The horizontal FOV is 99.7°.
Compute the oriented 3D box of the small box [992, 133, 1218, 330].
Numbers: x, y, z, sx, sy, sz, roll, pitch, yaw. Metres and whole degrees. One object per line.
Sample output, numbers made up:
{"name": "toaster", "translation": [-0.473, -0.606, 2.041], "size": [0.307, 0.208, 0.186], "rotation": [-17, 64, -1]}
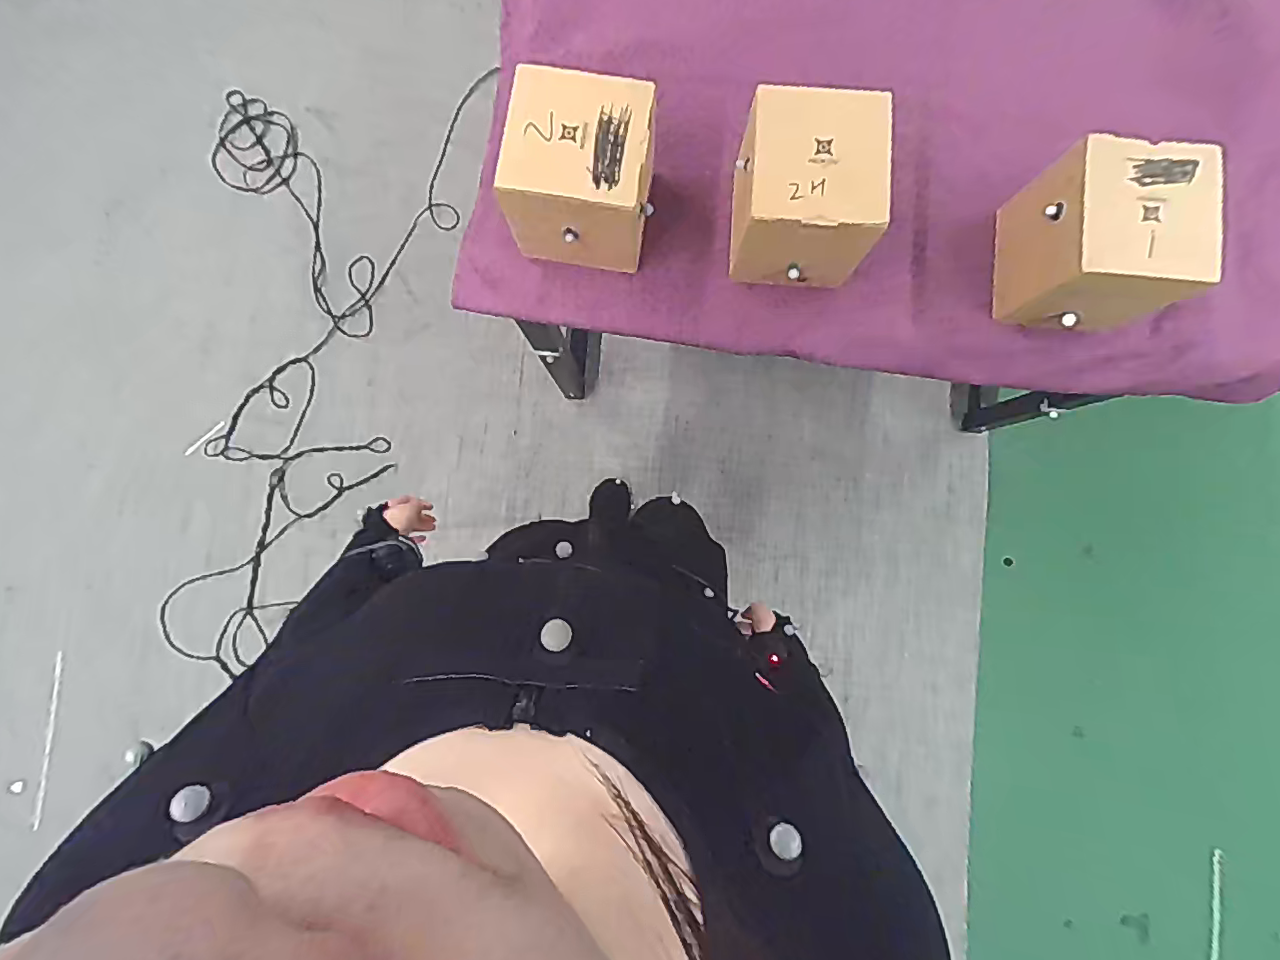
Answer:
{"name": "small box", "translation": [0.608, -0.322, 0.728], "size": [0.168, 0.176, 0.179], "rotation": [5, 86, 1]}

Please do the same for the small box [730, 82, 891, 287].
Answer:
{"name": "small box", "translation": [0.219, -0.386, 0.730], "size": [0.168, 0.176, 0.179], "rotation": [4, 85, 1]}
